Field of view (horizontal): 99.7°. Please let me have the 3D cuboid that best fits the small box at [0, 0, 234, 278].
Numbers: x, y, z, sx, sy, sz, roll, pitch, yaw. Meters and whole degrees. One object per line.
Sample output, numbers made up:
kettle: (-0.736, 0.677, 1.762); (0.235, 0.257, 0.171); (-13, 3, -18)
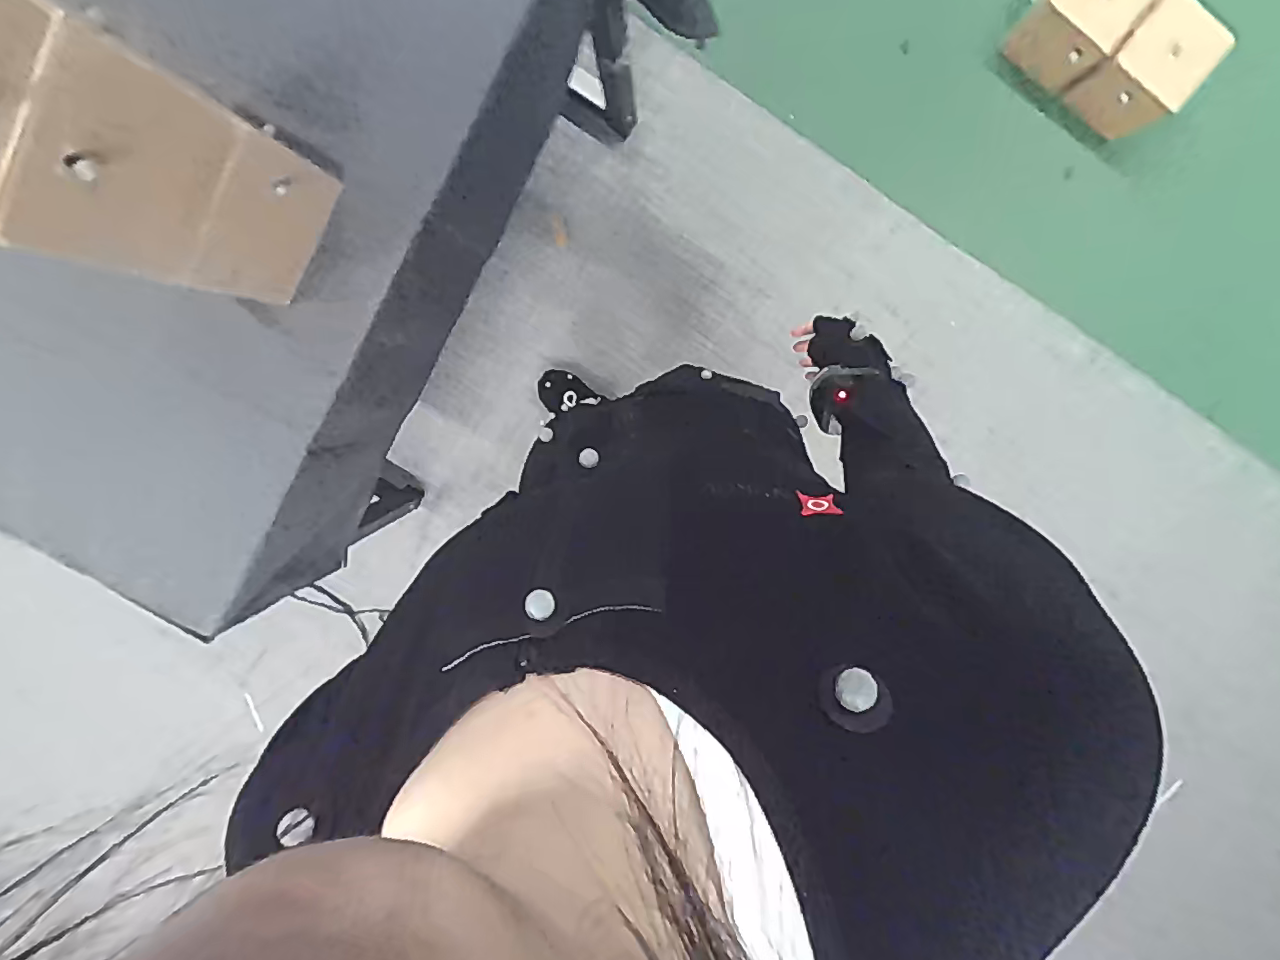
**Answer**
small box: (-0.505, -0.304, 0.466); (0.168, 0.176, 0.179); (31, 100, -3)
